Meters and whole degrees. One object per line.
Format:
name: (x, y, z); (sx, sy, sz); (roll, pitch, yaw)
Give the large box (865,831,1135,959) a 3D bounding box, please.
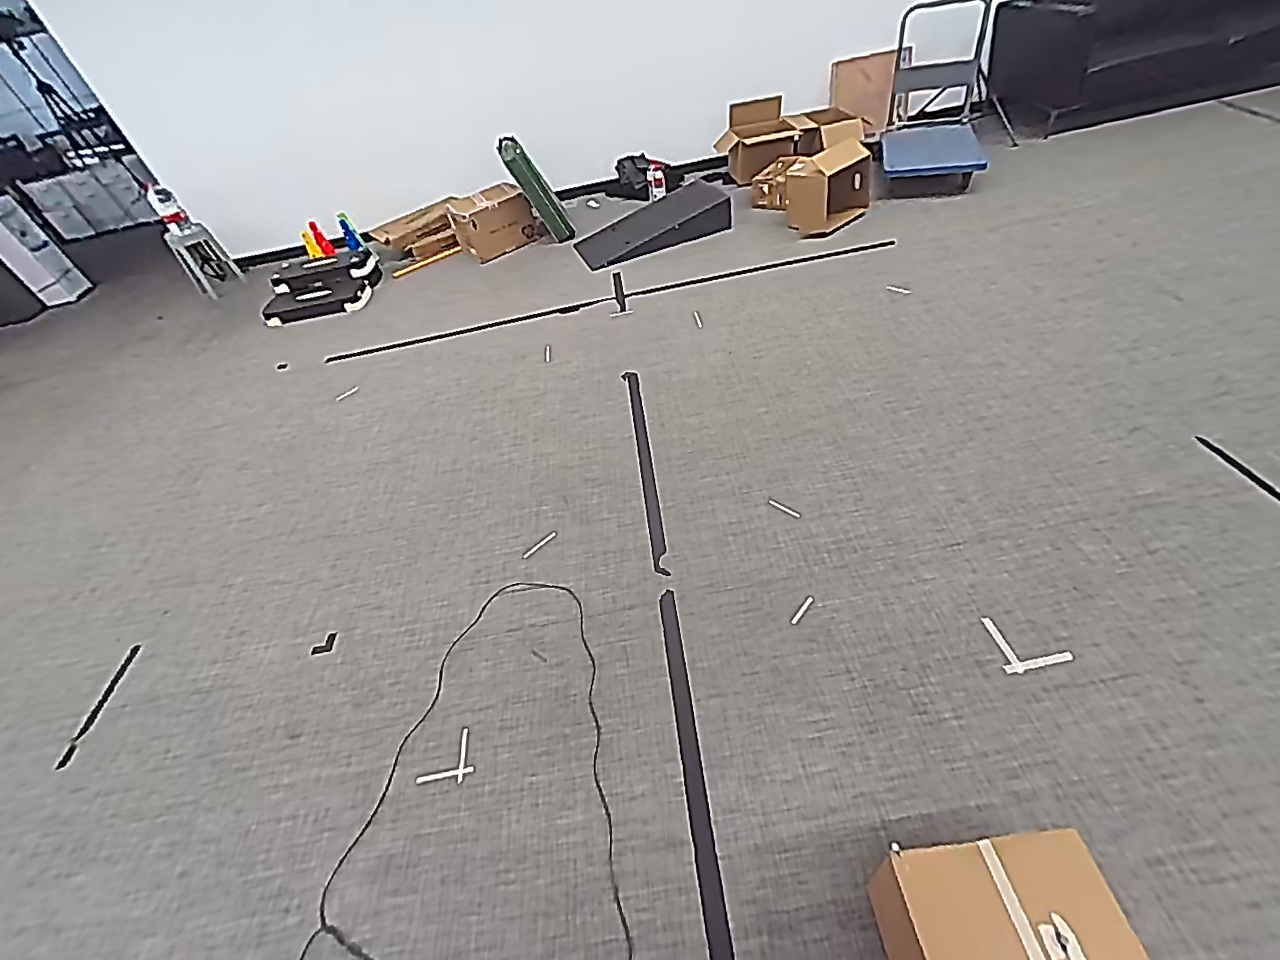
large box: (0.614, 0.868, 0.890); (0.320, 0.320, 0.408); (-9, 43, 2)
